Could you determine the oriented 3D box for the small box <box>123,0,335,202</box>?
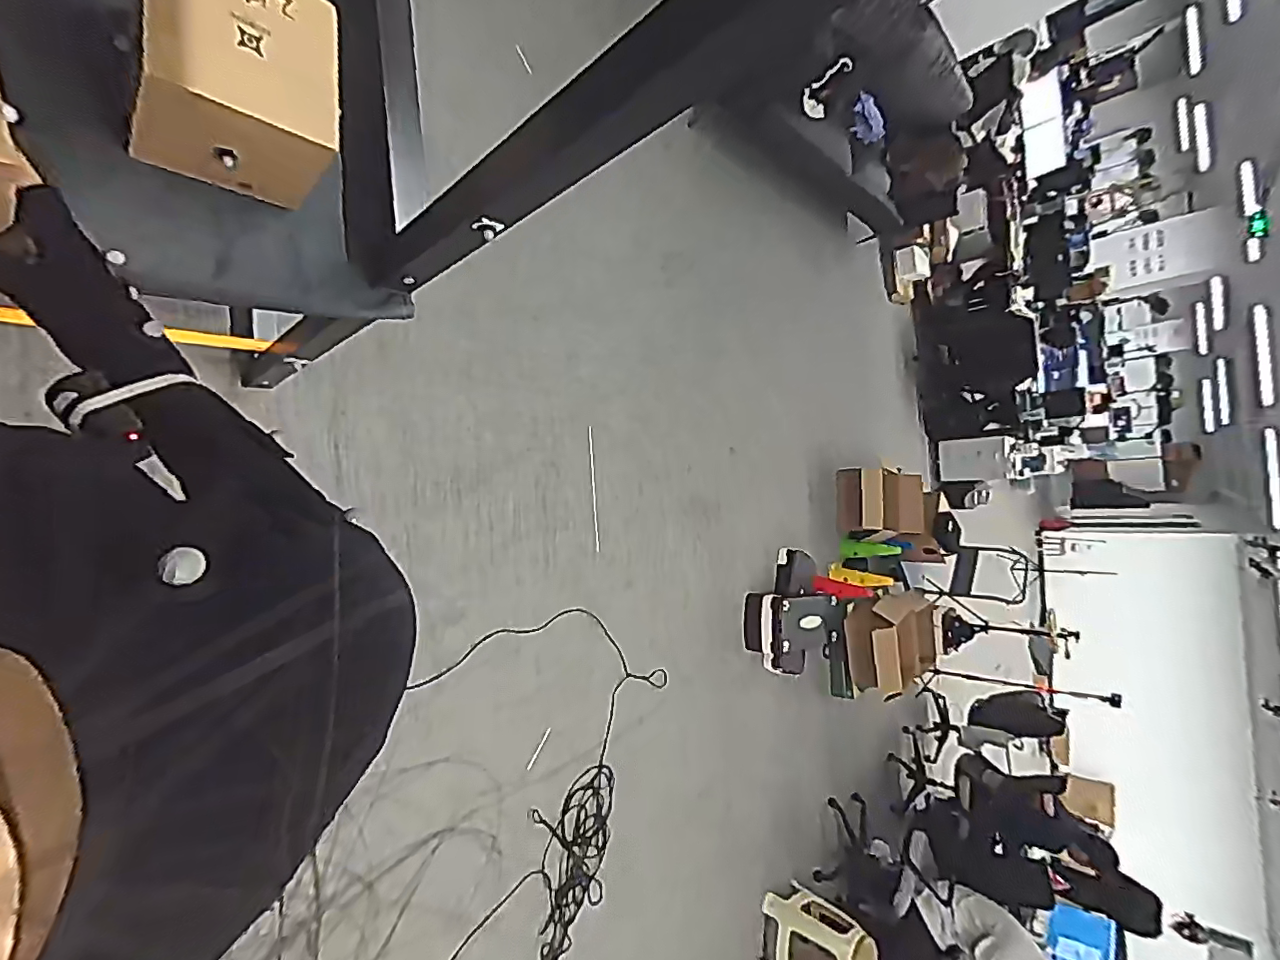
[{"bbox_3d":[-0.460,-0.450,0.607,0.168,0.176,0.179,1,85,-47],"label":"small box"}]
